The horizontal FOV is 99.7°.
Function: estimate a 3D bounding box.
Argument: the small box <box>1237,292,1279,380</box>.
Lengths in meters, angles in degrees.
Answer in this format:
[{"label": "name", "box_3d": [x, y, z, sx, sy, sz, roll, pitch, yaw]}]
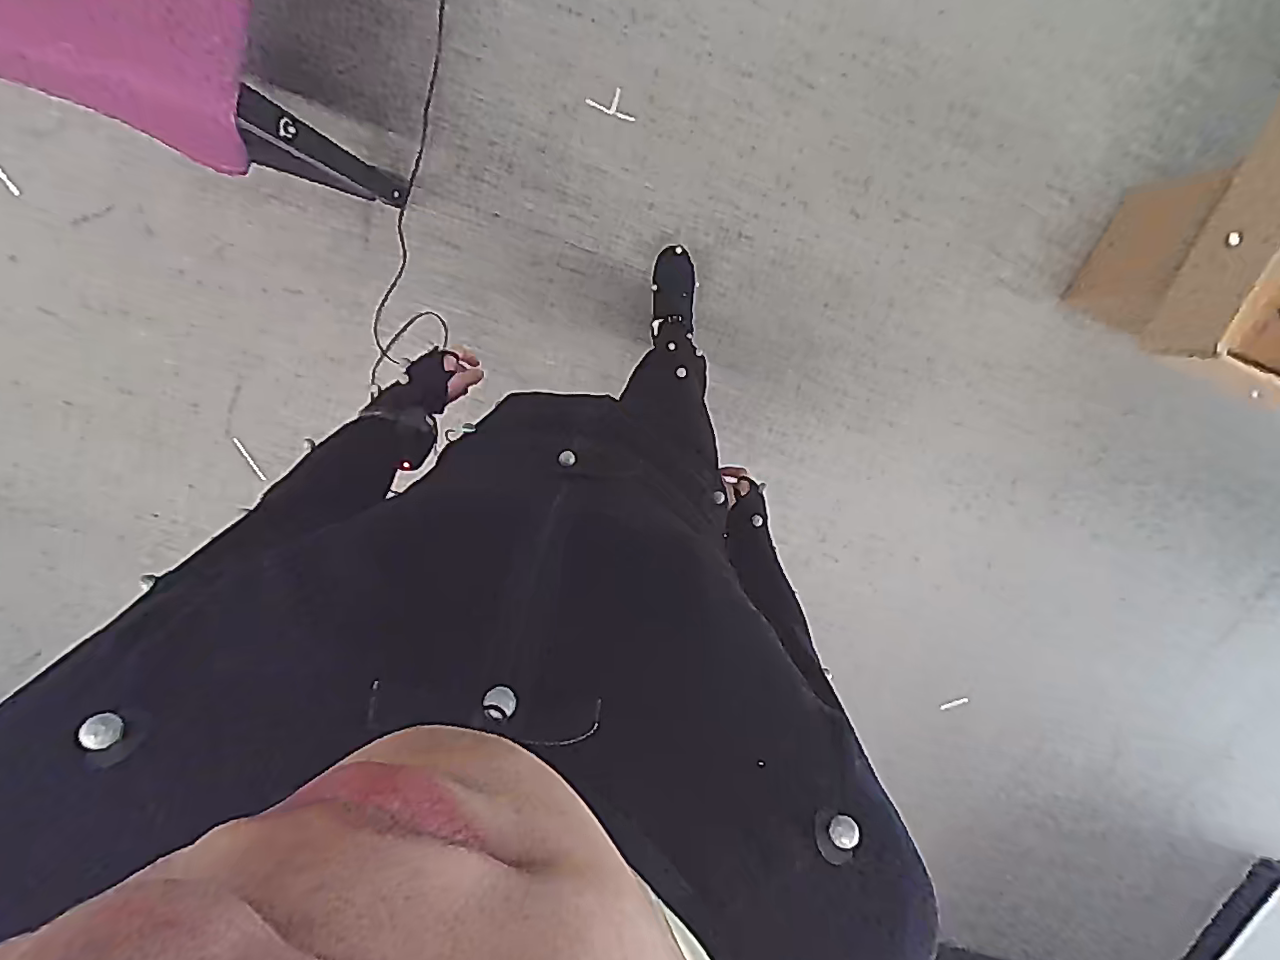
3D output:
[{"label": "small box", "box_3d": [1.389, -0.281, 1.077, 0.179, 0.176, 0.168, 20, 105, -6]}]
